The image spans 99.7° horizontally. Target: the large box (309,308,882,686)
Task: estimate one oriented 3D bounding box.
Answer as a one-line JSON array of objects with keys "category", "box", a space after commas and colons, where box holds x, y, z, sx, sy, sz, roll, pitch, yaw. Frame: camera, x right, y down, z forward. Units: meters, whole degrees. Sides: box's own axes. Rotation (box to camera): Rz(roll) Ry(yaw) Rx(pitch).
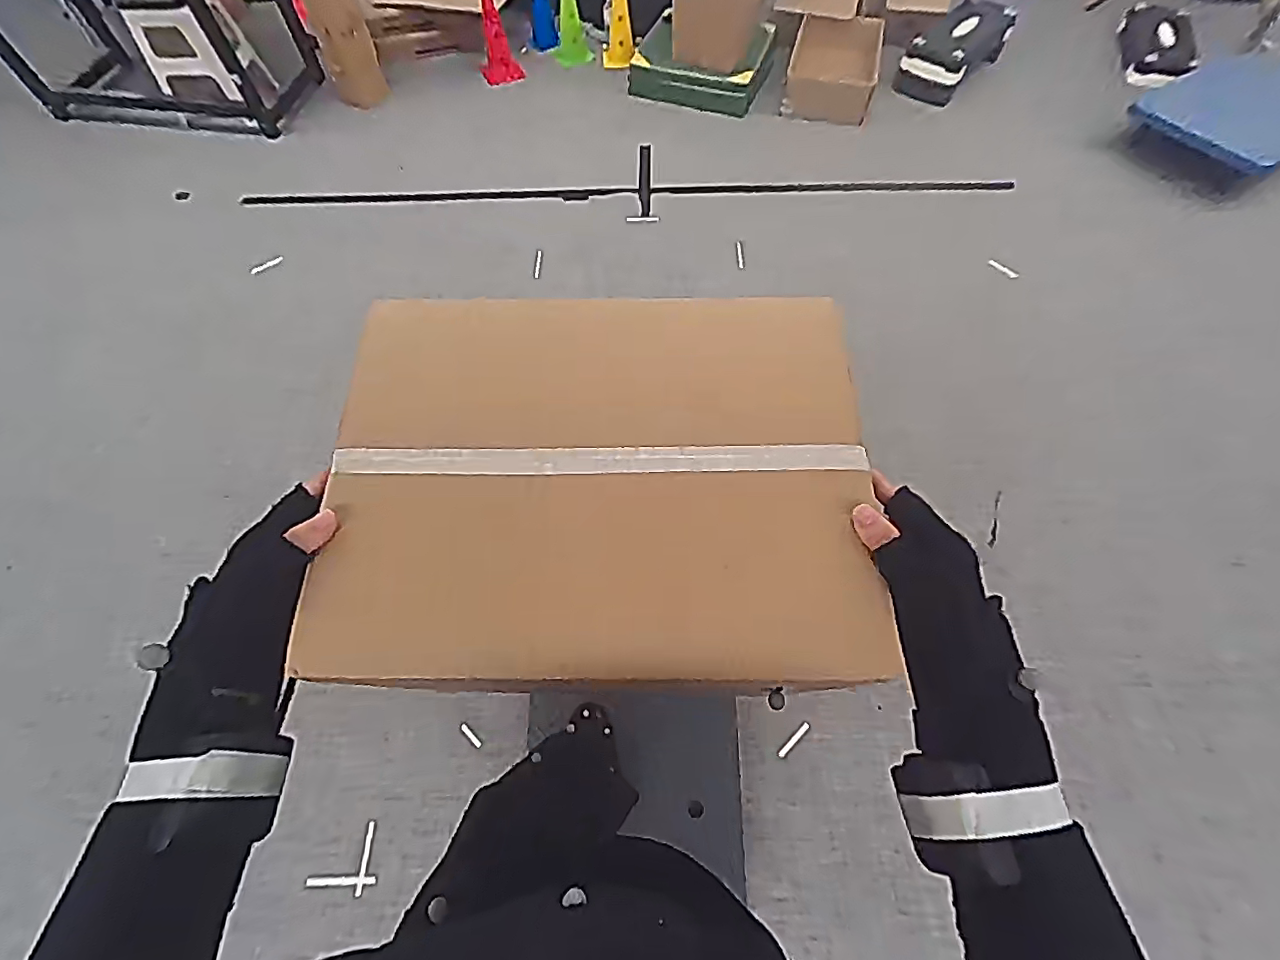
[{"category": "large box", "box": [-0.028, 0.048, 0.563, 0.408, 0.320, 0.320, 0, 66, 1]}]
